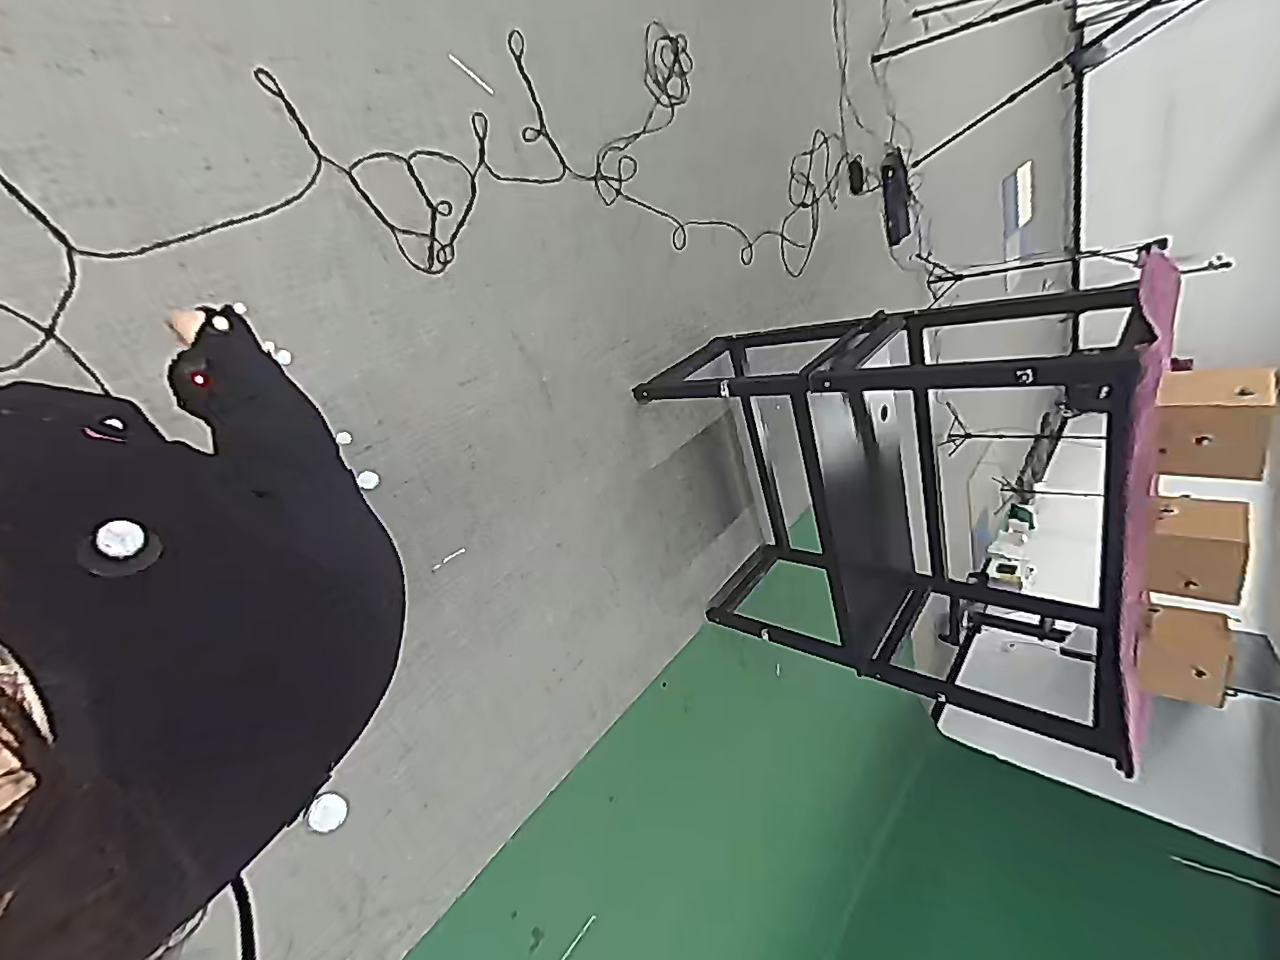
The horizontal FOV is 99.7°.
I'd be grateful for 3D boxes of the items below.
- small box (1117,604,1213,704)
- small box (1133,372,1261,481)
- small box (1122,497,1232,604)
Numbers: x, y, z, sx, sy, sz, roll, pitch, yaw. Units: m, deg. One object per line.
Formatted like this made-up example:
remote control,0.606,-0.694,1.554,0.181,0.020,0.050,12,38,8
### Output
small box,1.375,0.447,1.425,0.168,0.176,0.179,-37,120,-38
small box,1.158,-0.115,1.132,0.179,0.176,0.168,-38,122,-35
small box,1.255,0.158,1.271,0.168,0.176,0.179,-39,120,-36
